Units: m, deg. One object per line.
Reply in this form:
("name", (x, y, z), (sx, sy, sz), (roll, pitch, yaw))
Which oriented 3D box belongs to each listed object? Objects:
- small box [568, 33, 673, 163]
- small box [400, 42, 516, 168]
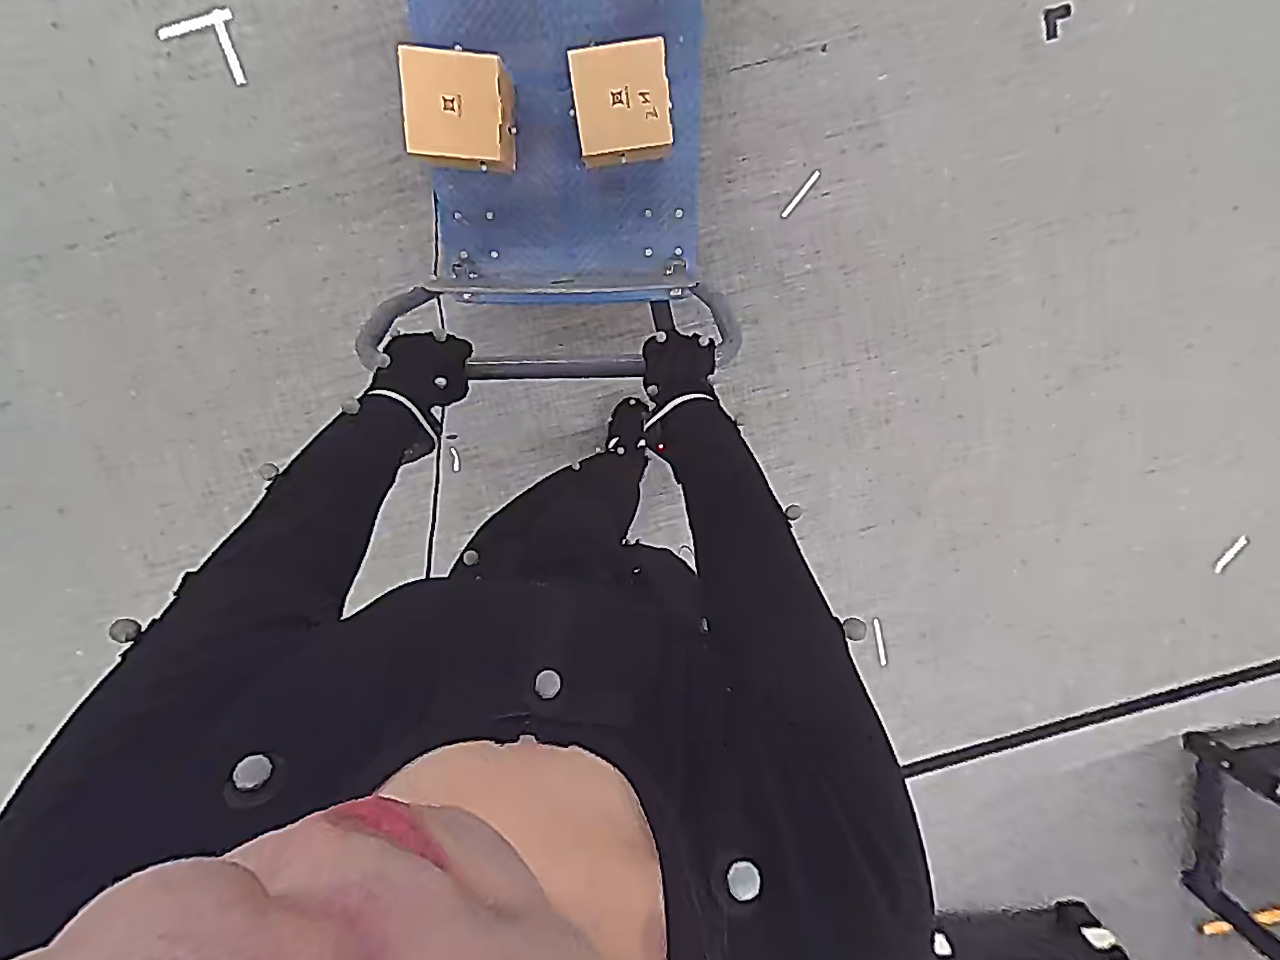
("small box", (-0.034, -0.732, 1.055), (0.179, 0.176, 0.168), (-8, 114, 1))
("small box", (-0.342, -0.714, 1.049), (0.179, 0.176, 0.168), (2, 113, -5))
